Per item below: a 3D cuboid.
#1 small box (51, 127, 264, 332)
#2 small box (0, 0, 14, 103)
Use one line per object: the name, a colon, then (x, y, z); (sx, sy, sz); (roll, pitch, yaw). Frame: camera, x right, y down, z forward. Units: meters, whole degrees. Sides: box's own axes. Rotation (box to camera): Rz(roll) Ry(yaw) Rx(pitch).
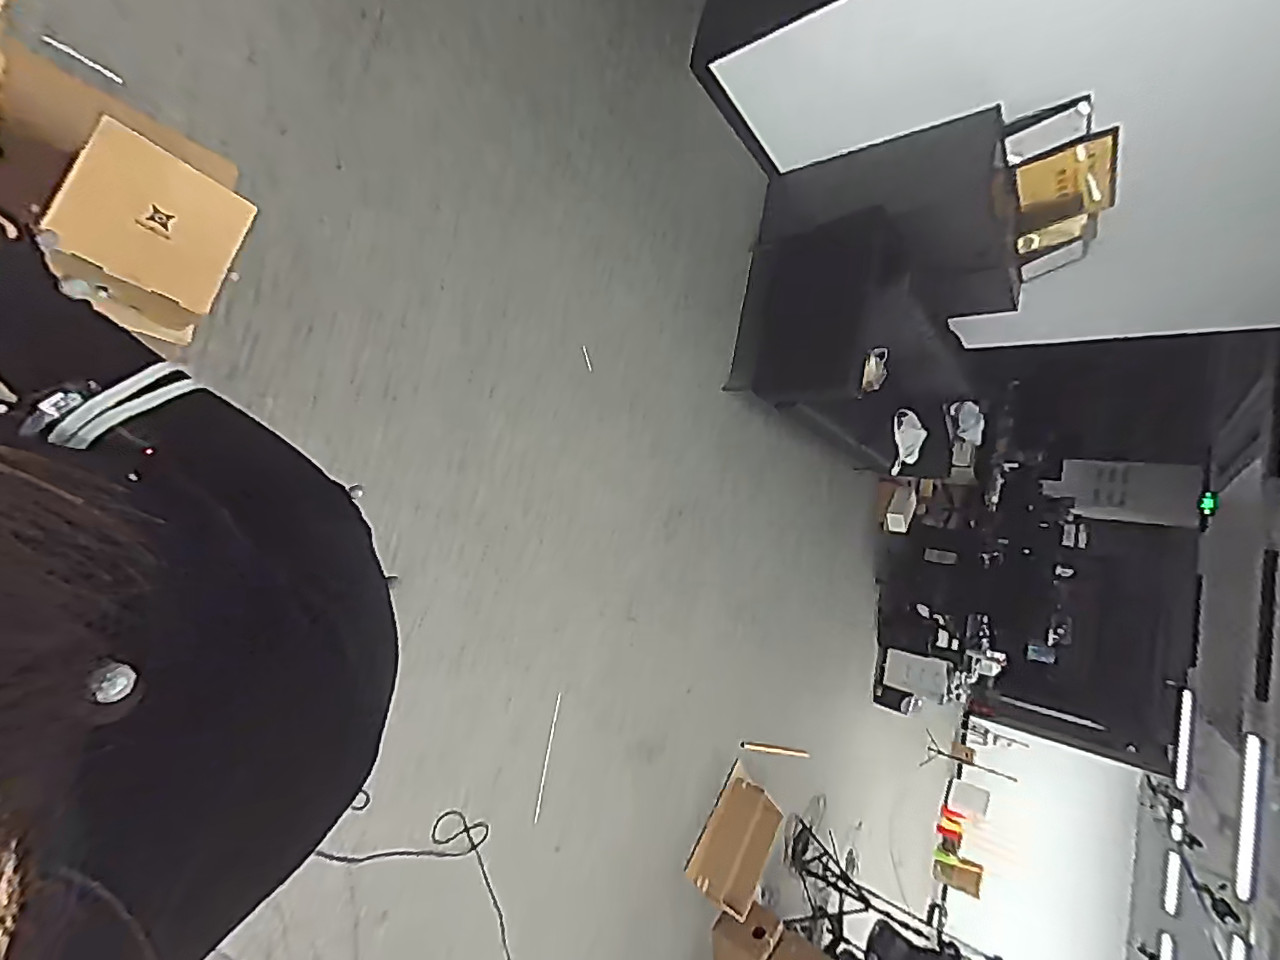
small box: (-0.659, -0.324, 0.739); (0.168, 0.176, 0.179); (27, 74, -46)
small box: (-0.680, -0.362, 0.459); (0.168, 0.176, 0.179); (18, 82, -51)
